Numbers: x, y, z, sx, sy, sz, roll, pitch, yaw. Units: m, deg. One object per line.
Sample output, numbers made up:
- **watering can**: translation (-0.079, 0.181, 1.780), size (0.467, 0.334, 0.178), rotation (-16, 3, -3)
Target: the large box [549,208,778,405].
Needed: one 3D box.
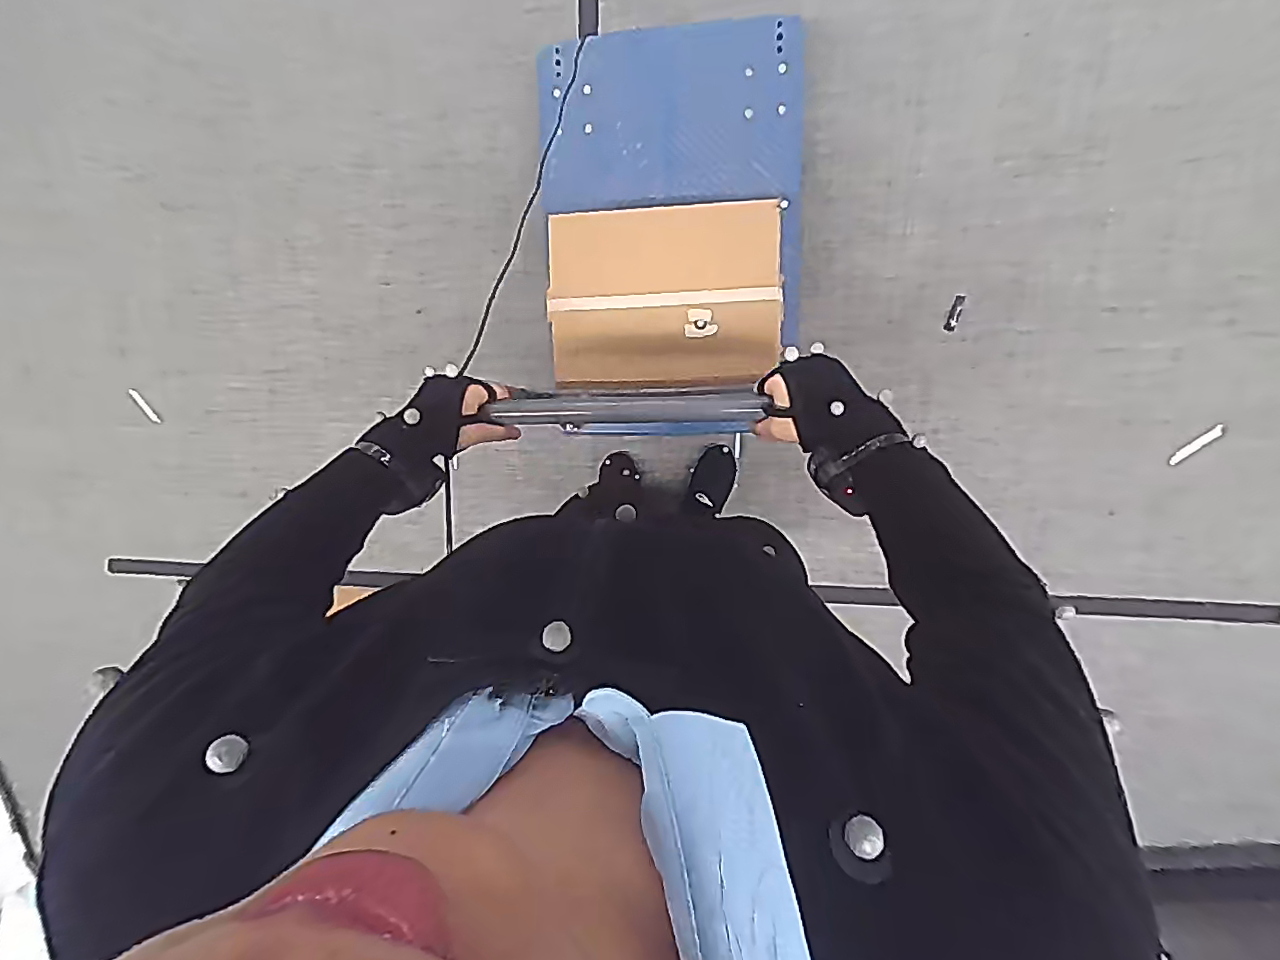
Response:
- **large box**: translation (0.054, -0.320, 1.098), size (0.408, 0.320, 0.320), rotation (0, 97, 7)
